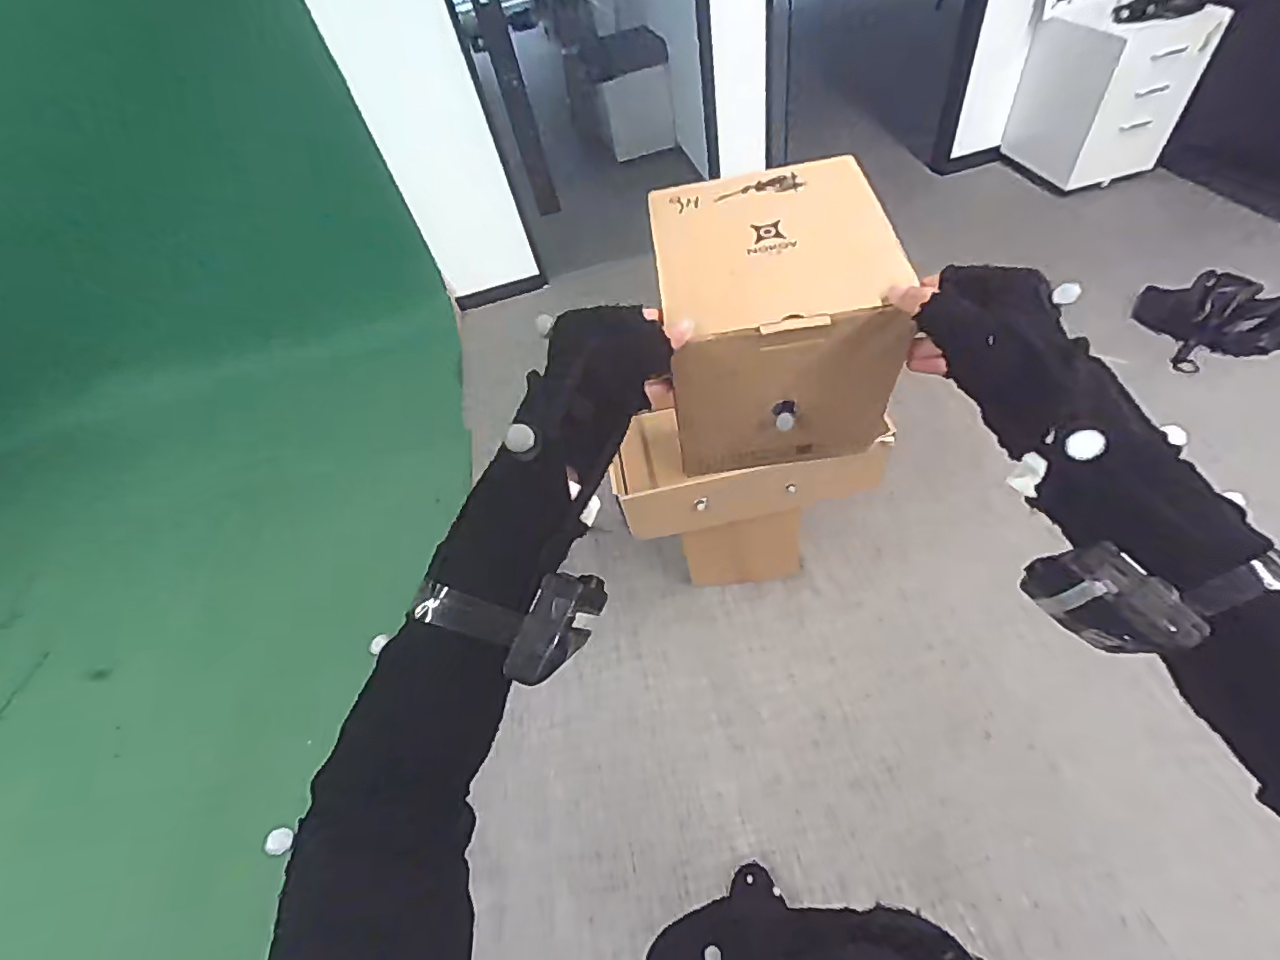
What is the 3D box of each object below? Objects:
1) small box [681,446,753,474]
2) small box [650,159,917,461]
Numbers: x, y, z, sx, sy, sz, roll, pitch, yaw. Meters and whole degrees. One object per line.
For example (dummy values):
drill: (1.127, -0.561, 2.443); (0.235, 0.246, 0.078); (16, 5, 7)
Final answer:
small box: (0.179, -0.131, 1.317); (0.168, 0.176, 0.179); (-9, 48, 2)
small box: (0.104, -0.129, 0.458); (0.168, 0.176, 0.179); (-7, 58, 5)
